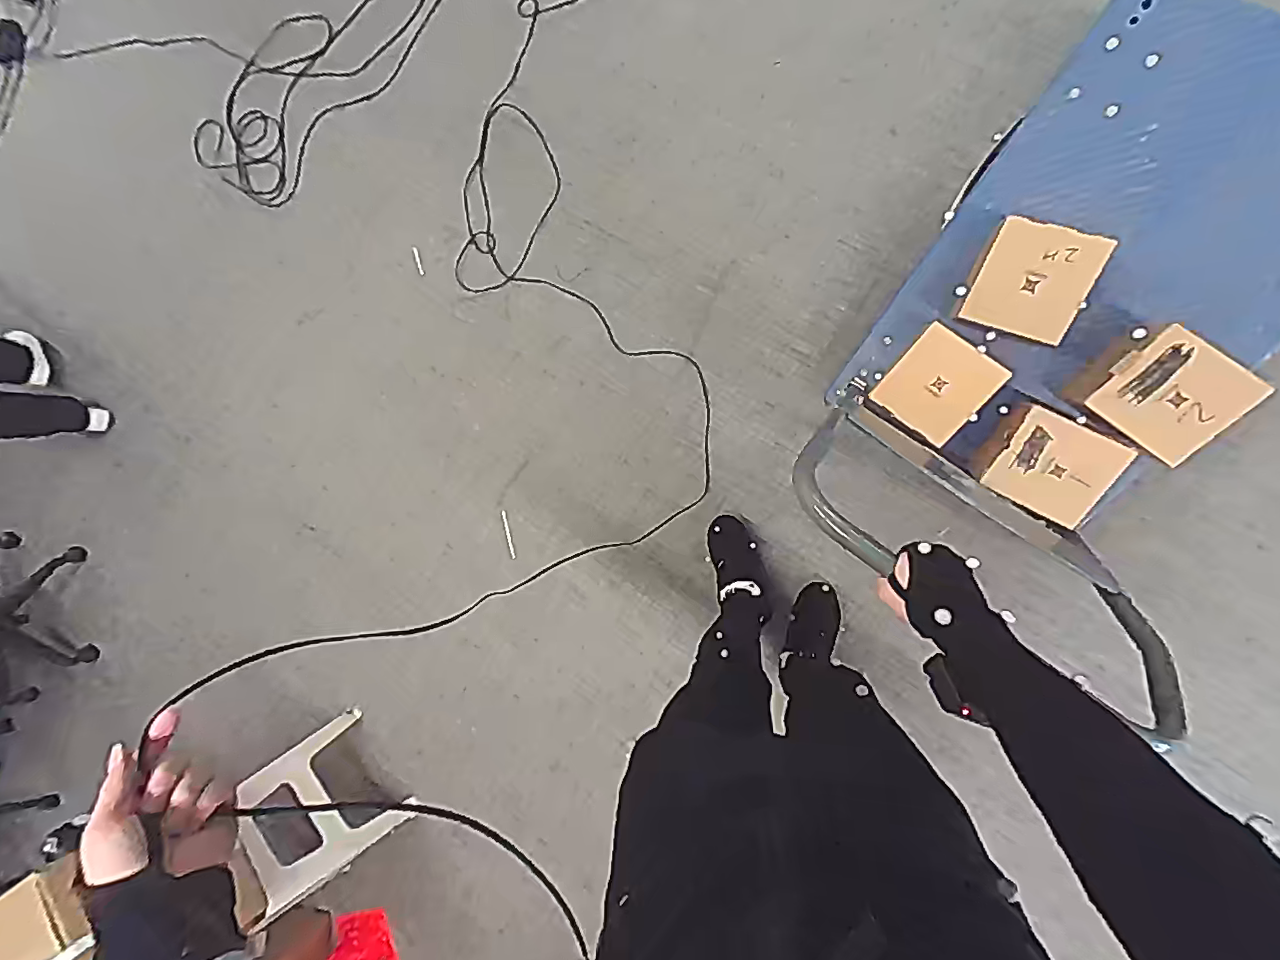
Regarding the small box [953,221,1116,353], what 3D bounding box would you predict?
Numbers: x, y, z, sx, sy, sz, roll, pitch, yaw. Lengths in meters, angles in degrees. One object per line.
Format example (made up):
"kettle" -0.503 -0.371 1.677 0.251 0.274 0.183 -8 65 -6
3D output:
"small box" 0.695 -0.342 0.982 0.168 0.176 0.179 25 111 16
